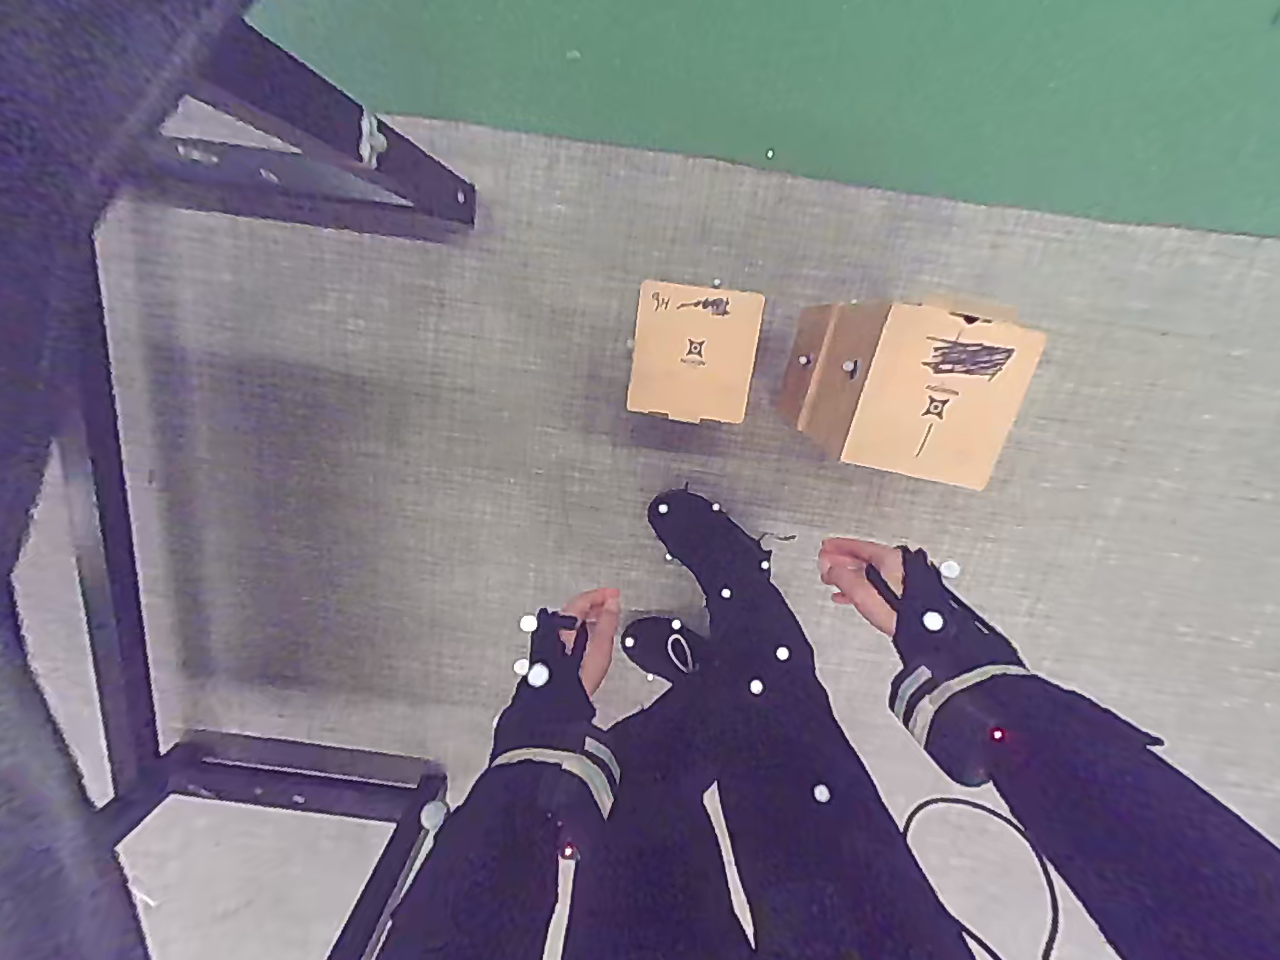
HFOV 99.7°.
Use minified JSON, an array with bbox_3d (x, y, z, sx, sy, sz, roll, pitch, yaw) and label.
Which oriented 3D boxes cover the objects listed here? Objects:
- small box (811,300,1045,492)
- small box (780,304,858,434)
[{"bbox_3d":[0.321,-0.106,0.649,0.168,0.176,0.179,13,106,0],"label":"small box"},{"bbox_3d":[0.321,-0.154,0.806,0.168,0.176,0.179,13,107,0],"label":"small box"}]
